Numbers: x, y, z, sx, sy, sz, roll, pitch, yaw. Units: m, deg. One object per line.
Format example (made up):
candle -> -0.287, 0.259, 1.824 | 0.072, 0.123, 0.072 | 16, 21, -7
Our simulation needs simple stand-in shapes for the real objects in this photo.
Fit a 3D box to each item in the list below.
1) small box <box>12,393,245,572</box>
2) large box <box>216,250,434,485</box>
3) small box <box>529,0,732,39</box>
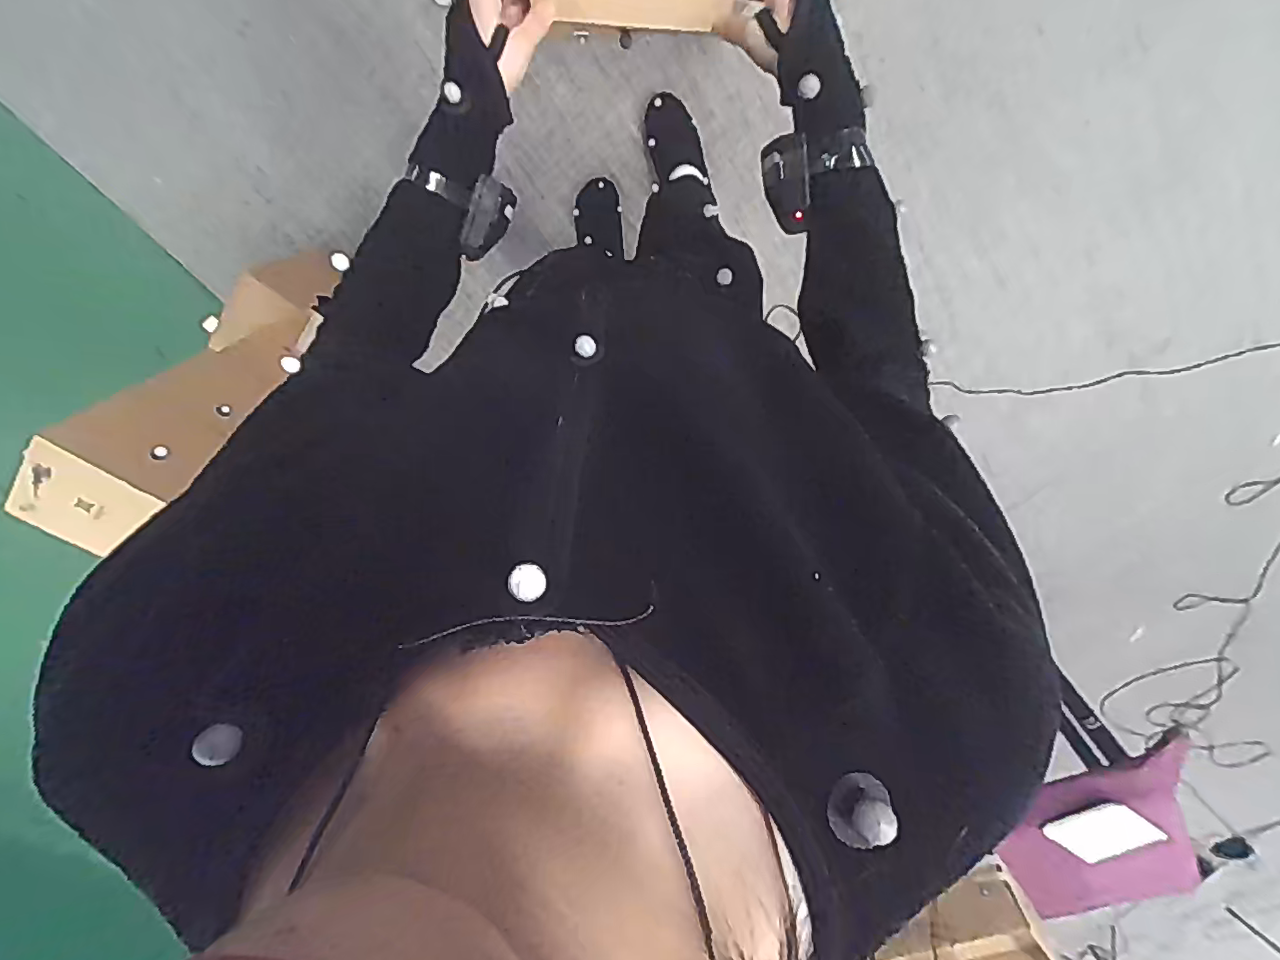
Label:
small box -> -0.755, -0.001, 0.818 | 0.179, 0.176, 0.168 | 38, 114, -23
large box -> -0.774, -0.276, 1.321 | 0.320, 0.320, 0.408 | 36, 116, -19
small box -> -0.002, -0.487, 0.450 | 0.168, 0.176, 0.179 | 2, 128, -3
